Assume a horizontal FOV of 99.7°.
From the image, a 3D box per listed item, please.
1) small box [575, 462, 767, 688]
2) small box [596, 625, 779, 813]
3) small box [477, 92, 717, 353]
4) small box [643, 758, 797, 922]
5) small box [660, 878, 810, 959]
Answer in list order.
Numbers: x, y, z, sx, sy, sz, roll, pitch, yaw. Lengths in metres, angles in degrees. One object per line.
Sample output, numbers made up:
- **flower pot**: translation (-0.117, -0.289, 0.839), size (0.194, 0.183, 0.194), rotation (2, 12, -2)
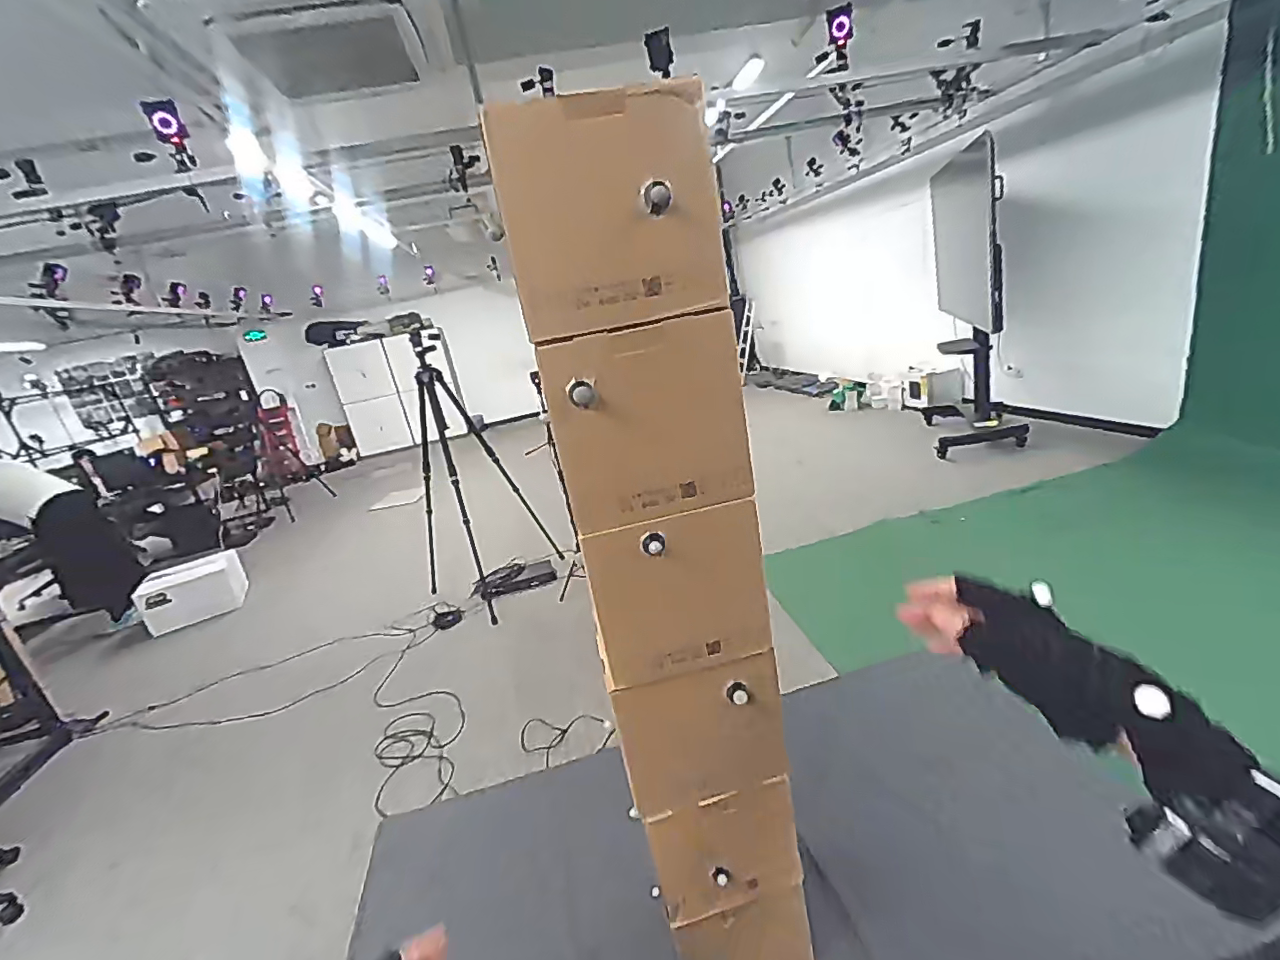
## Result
- **small box**: translation (0.026, 0.093, 0.592), size (0.168, 0.176, 0.179), rotation (-13, 17, -5)
- **small box**: translation (0.054, 0.247, 0.640), size (0.179, 0.176, 0.168), rotation (-14, 17, -6)
- **small box**: translation (-0.035, -0.216, 0.497), size (0.168, 0.176, 0.179), rotation (-12, 18, -4)
- **small box**: translation (0.083, 0.400, 0.691), size (0.168, 0.176, 0.179), rotation (-14, 18, -7)
- **small box**: translation (0.115, 0.552, 0.739), size (0.168, 0.176, 0.179), rotation (-14, 16, -7)
